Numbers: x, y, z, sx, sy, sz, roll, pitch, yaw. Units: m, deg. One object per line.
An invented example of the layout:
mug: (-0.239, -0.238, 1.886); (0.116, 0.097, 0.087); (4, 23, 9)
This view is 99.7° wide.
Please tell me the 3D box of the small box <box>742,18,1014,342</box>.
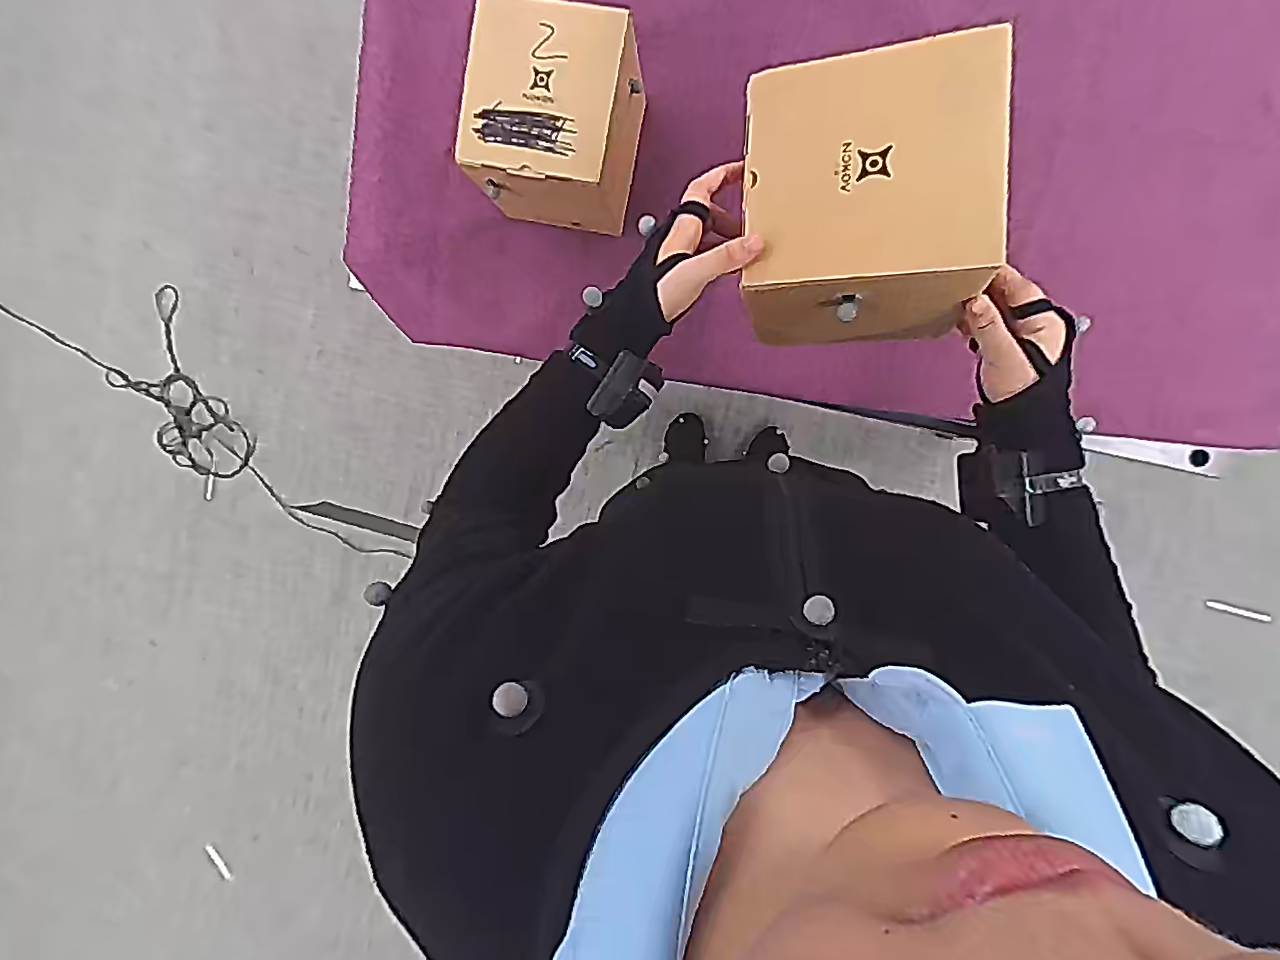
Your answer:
small box: (0.185, -0.222, 0.455); (0.179, 0.176, 0.168); (1, 89, 19)
